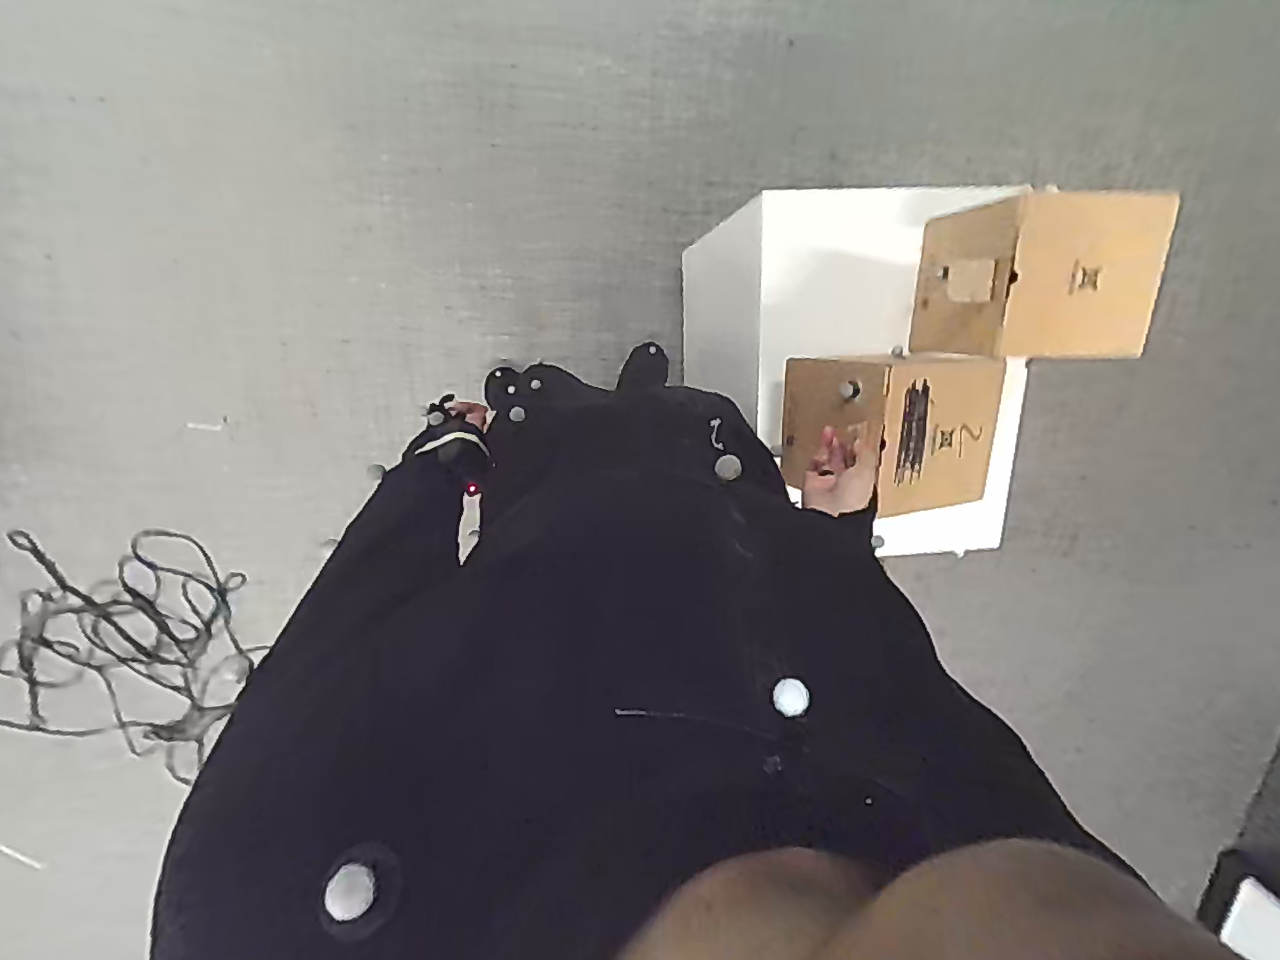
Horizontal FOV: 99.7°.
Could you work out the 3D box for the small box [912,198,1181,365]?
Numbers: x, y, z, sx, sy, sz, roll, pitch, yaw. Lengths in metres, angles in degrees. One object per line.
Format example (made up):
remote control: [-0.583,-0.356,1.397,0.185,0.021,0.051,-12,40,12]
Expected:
small box: [0.466,-0.229,0.650,0.179,0.176,0.168,-1,106,-4]
